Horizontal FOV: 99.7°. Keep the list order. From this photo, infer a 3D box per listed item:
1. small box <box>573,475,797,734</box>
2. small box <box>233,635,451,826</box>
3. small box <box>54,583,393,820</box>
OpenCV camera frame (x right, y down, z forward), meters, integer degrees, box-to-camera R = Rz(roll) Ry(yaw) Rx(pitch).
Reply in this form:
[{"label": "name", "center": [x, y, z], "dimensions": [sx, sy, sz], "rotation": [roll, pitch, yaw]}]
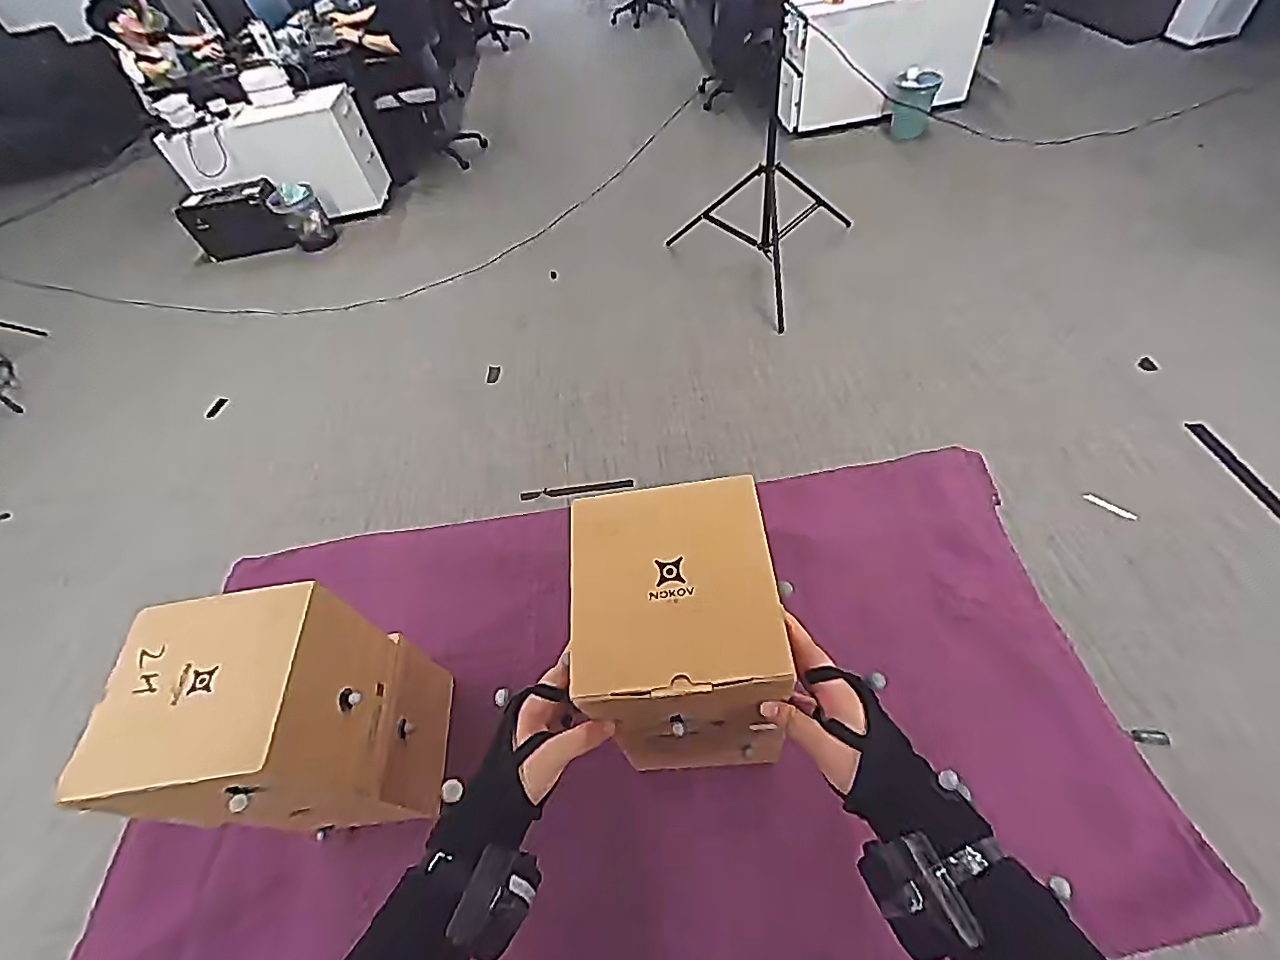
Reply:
[{"label": "small box", "center": [0.038, 0.121, 0.501], "dimensions": [0.168, 0.176, 0.179], "rotation": [-9, 56, 5]}, {"label": "small box", "center": [-0.348, 0.313, 0.665], "dimensions": [0.168, 0.176, 0.179], "rotation": [-9, 52, 2]}, {"label": "small box", "center": [-0.371, 0.221, 0.529], "dimensions": [0.179, 0.176, 0.168], "rotation": [-9, 52, 2]}]
